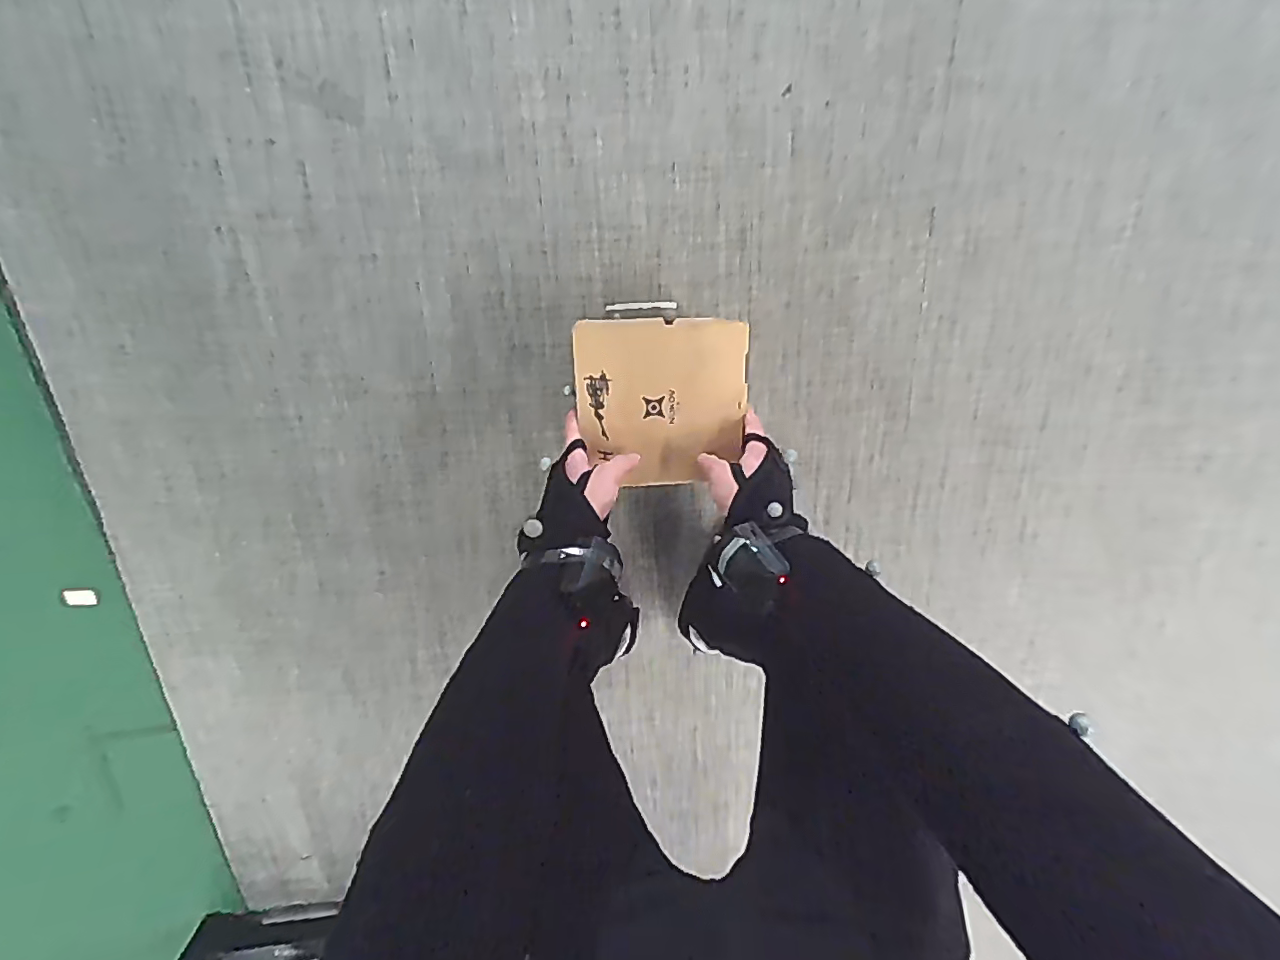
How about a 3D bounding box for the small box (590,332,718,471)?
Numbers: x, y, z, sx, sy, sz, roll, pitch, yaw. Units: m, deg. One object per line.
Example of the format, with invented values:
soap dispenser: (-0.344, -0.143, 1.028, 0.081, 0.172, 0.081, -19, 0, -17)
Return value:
small box: (0.012, -0.120, 0.774, 0.168, 0.176, 0.179, -1, 108, -2)
